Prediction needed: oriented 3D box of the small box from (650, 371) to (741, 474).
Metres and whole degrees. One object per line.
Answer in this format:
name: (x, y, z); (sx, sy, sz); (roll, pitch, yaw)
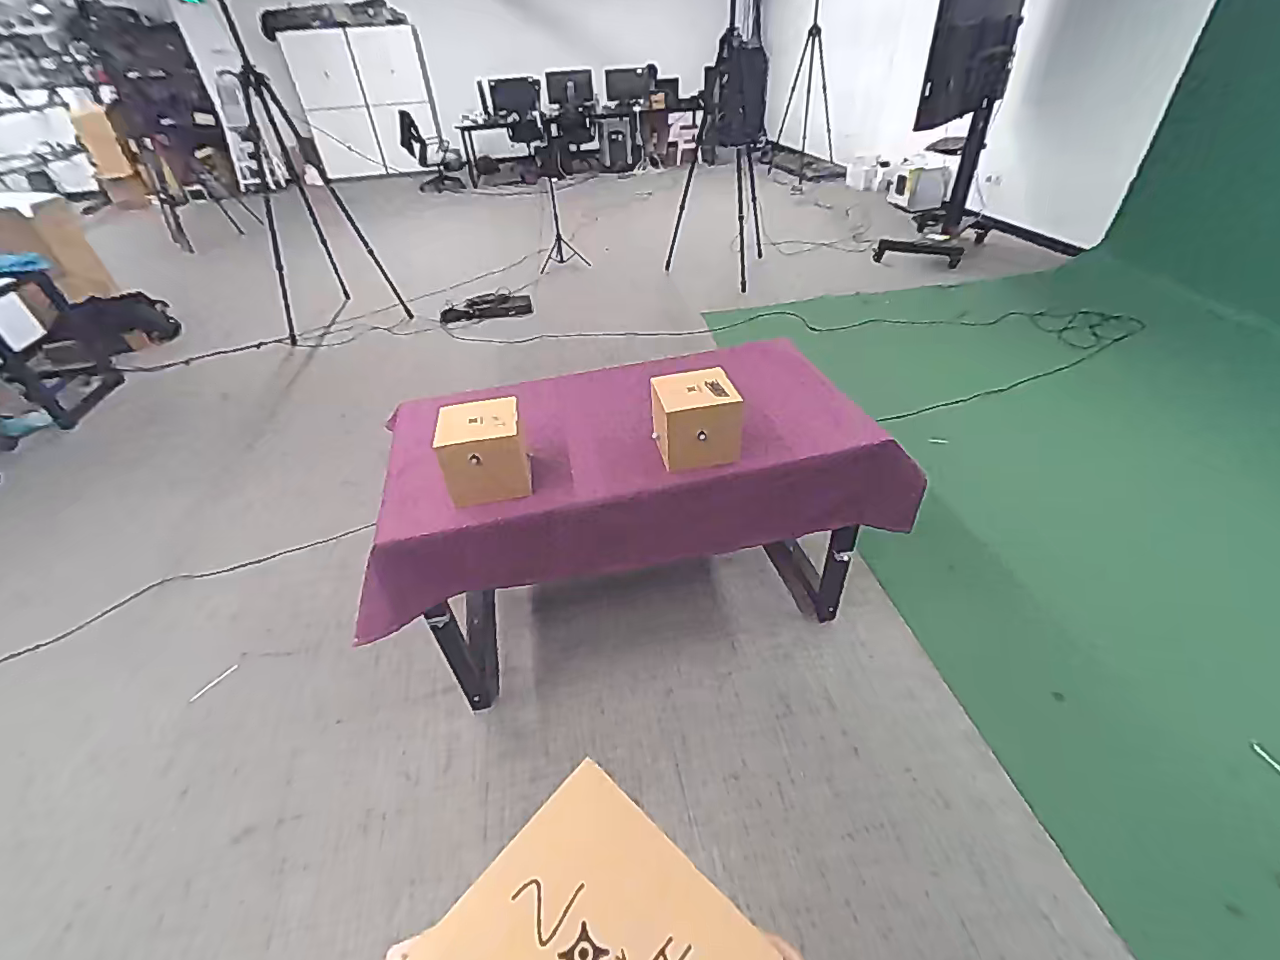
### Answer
small box: (0.126, -0.136, 1.277); (0.179, 0.176, 0.168); (-10, 39, -6)

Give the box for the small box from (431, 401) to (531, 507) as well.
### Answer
small box: (-0.351, -0.057, 1.224); (0.179, 0.176, 0.168); (-9, 39, -6)
